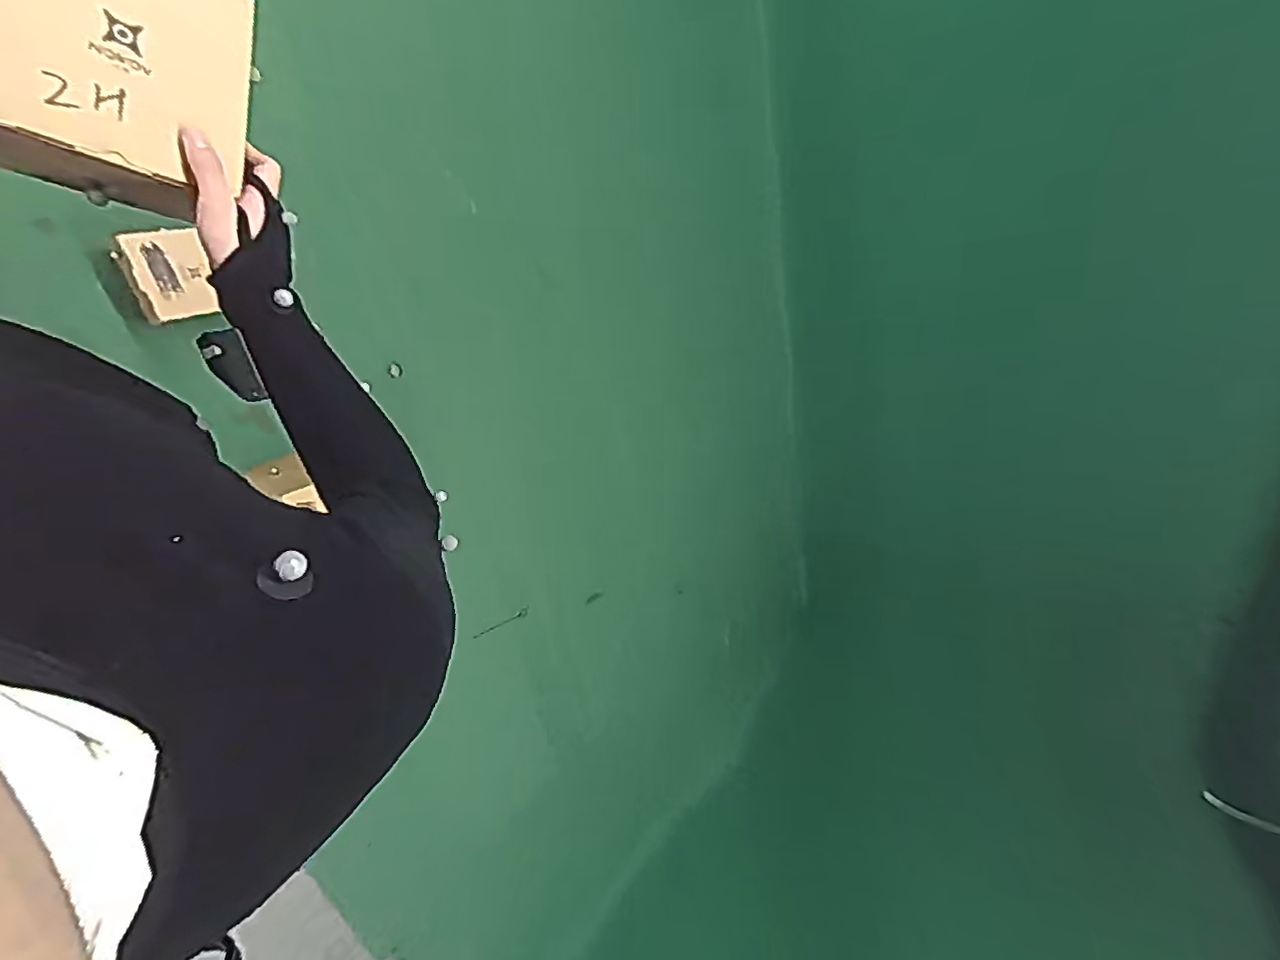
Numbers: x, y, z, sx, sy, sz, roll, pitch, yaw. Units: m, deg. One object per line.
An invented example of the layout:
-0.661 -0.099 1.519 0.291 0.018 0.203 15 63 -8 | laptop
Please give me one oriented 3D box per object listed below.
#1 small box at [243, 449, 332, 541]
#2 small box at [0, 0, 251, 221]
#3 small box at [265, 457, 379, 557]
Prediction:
-0.885 0.029 1.404 0.179 0.176 0.168 -31 122 -38 | small box
-0.458 -0.346 0.460 0.168 0.176 0.179 1 100 -50 | small box
-0.766 0.058 1.295 0.179 0.176 0.168 -30 122 -39 | small box
